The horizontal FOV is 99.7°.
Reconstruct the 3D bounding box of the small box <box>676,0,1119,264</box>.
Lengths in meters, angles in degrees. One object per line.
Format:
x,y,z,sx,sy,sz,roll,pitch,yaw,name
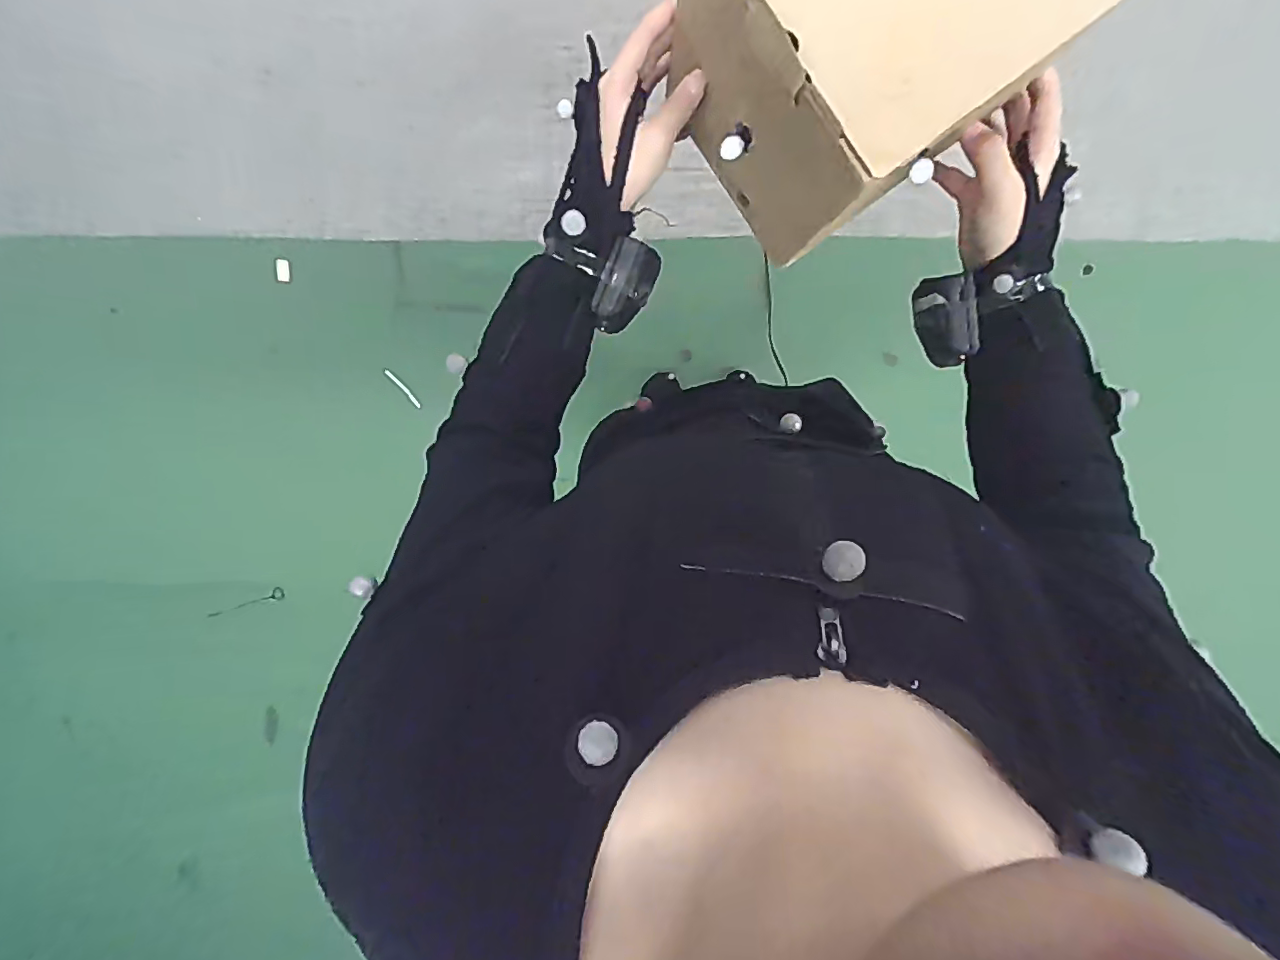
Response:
0.136,-0.275,0.357,0.179,0.176,0.168,-36,96,3,small box
